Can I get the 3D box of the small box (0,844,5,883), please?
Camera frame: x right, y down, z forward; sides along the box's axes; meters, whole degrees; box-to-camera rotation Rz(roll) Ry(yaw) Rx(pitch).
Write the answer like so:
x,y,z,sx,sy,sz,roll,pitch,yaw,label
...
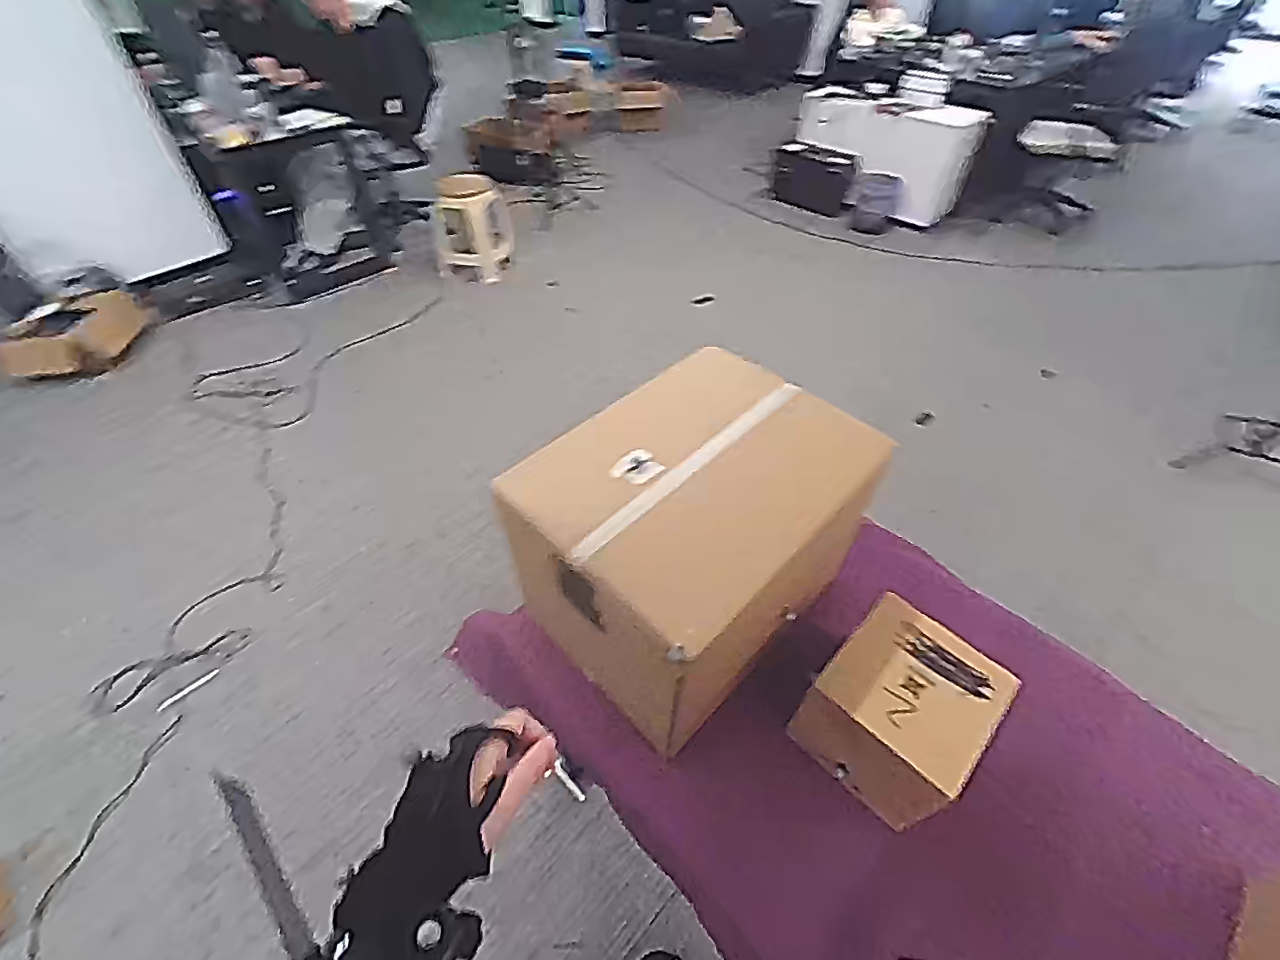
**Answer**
x,y,z,sx,sy,sz,roll,pitch,yaw,label
-1.463,0.865,1.087,0.168,0.176,0.179,21,68,43,small box
